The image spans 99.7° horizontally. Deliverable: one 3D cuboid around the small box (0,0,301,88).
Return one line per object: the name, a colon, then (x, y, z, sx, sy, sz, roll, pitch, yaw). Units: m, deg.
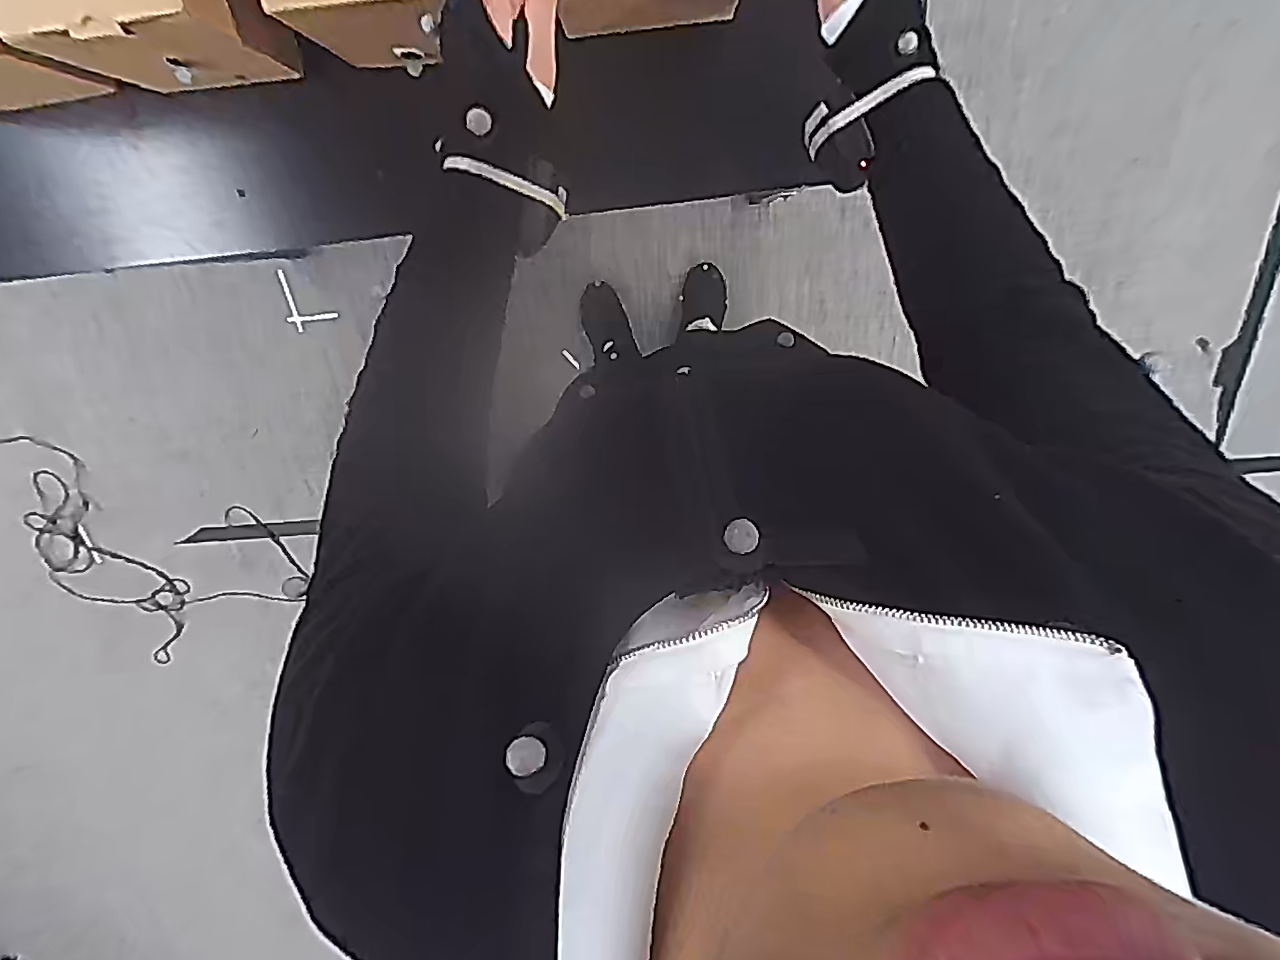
small box: (-0.450, -0.478, 0.488, 0.168, 0.176, 0.179, -4, 113, 3)

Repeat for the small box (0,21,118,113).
small box: (-0.664, -0.458, 0.497, 0.179, 0.176, 0.168, -8, 113, 3)
